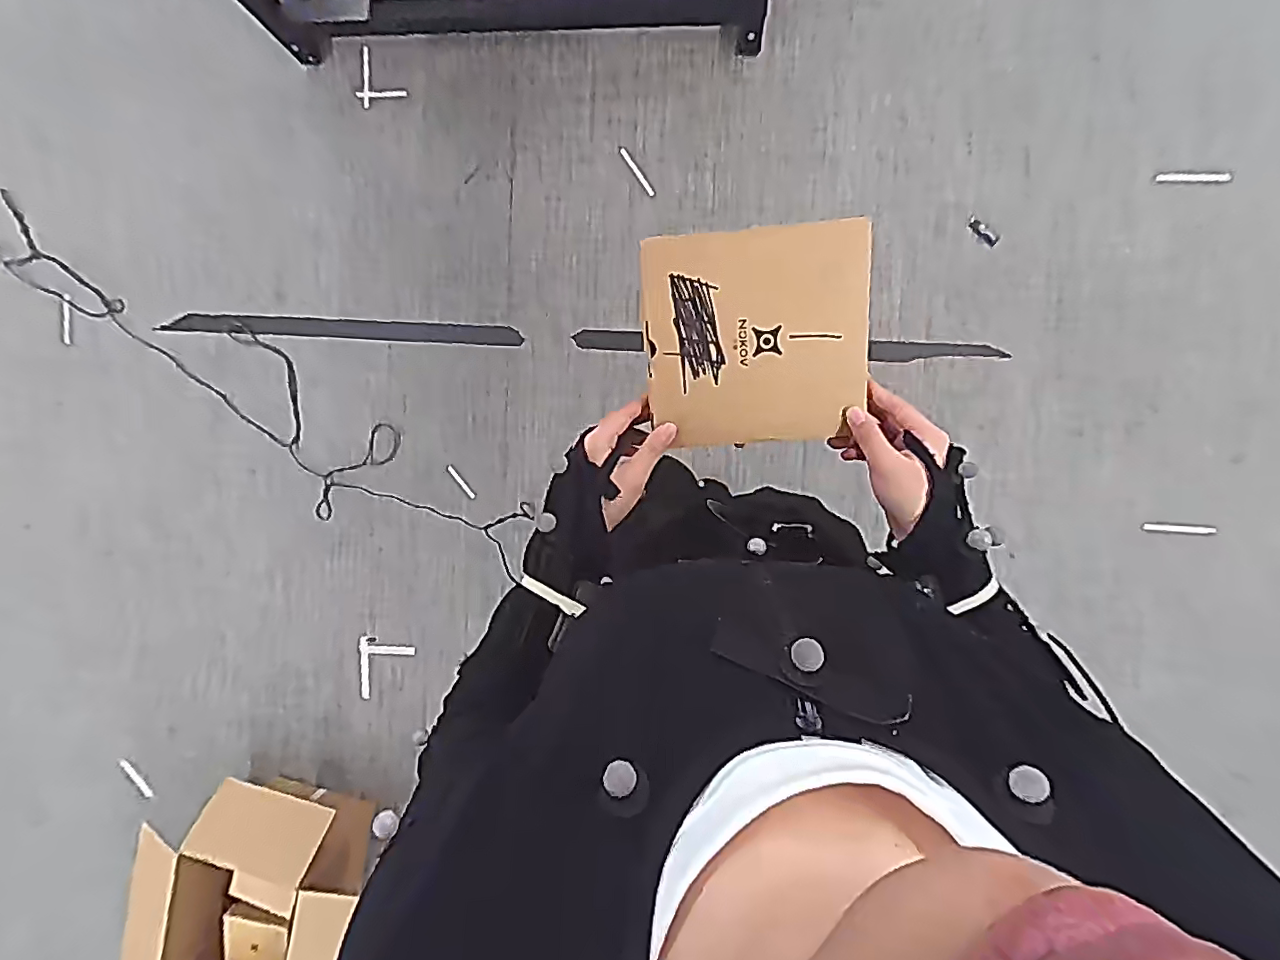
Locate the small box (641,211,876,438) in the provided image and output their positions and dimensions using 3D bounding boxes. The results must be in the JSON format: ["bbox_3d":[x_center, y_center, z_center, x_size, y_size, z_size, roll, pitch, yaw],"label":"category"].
[{"bbox_3d":[0.101,-0.135,0.502,0.179,0.176,0.168,-3,105,7],"label":"small box"}]
